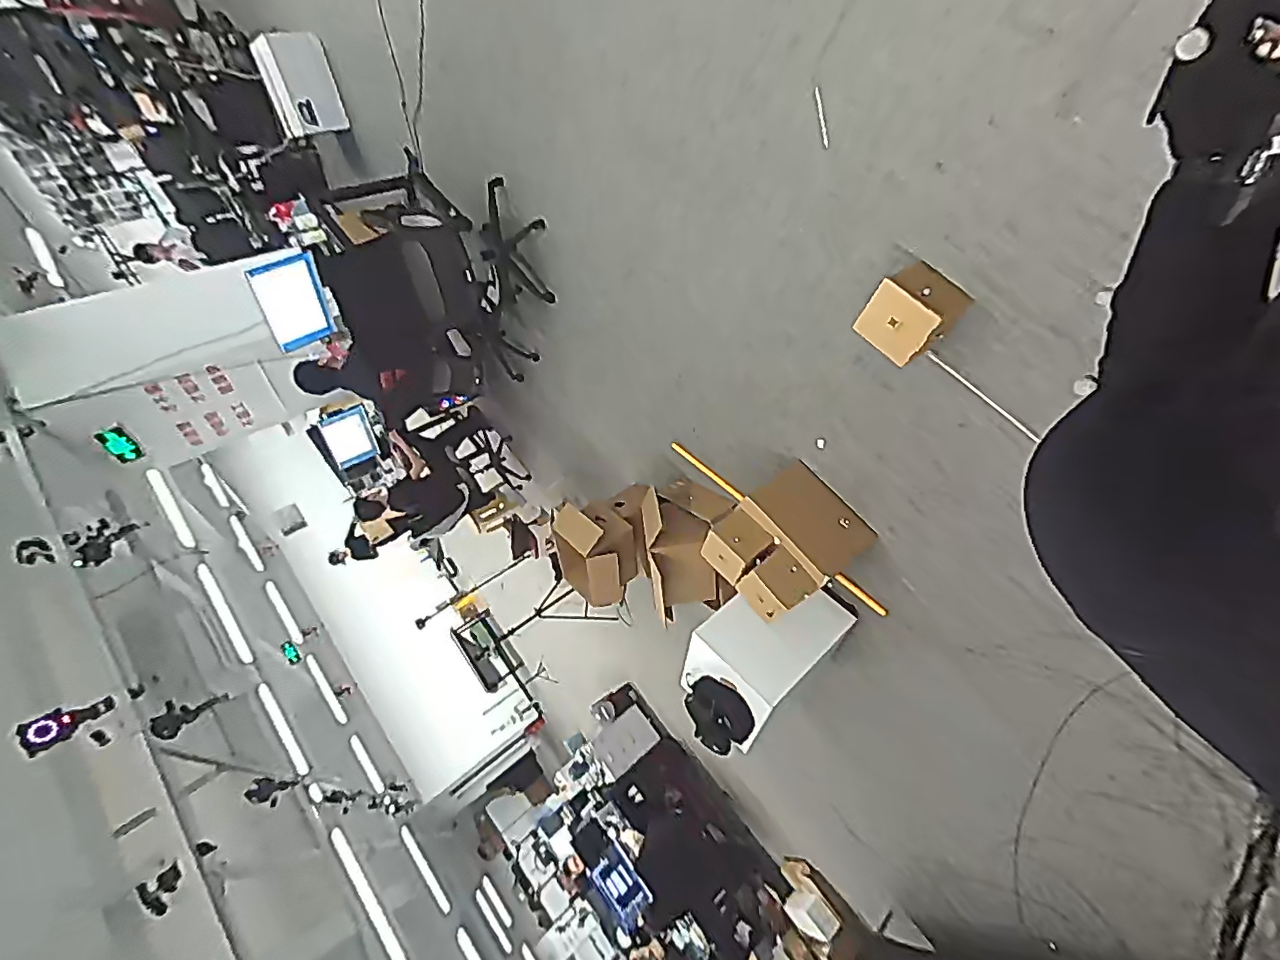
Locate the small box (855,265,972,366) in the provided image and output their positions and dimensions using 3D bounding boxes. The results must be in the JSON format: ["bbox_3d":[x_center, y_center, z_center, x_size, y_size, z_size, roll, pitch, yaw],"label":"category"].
[{"bbox_3d":[0.710,-0.435,1.408,0.179,0.176,0.168,47,150,18],"label":"small box"}]
